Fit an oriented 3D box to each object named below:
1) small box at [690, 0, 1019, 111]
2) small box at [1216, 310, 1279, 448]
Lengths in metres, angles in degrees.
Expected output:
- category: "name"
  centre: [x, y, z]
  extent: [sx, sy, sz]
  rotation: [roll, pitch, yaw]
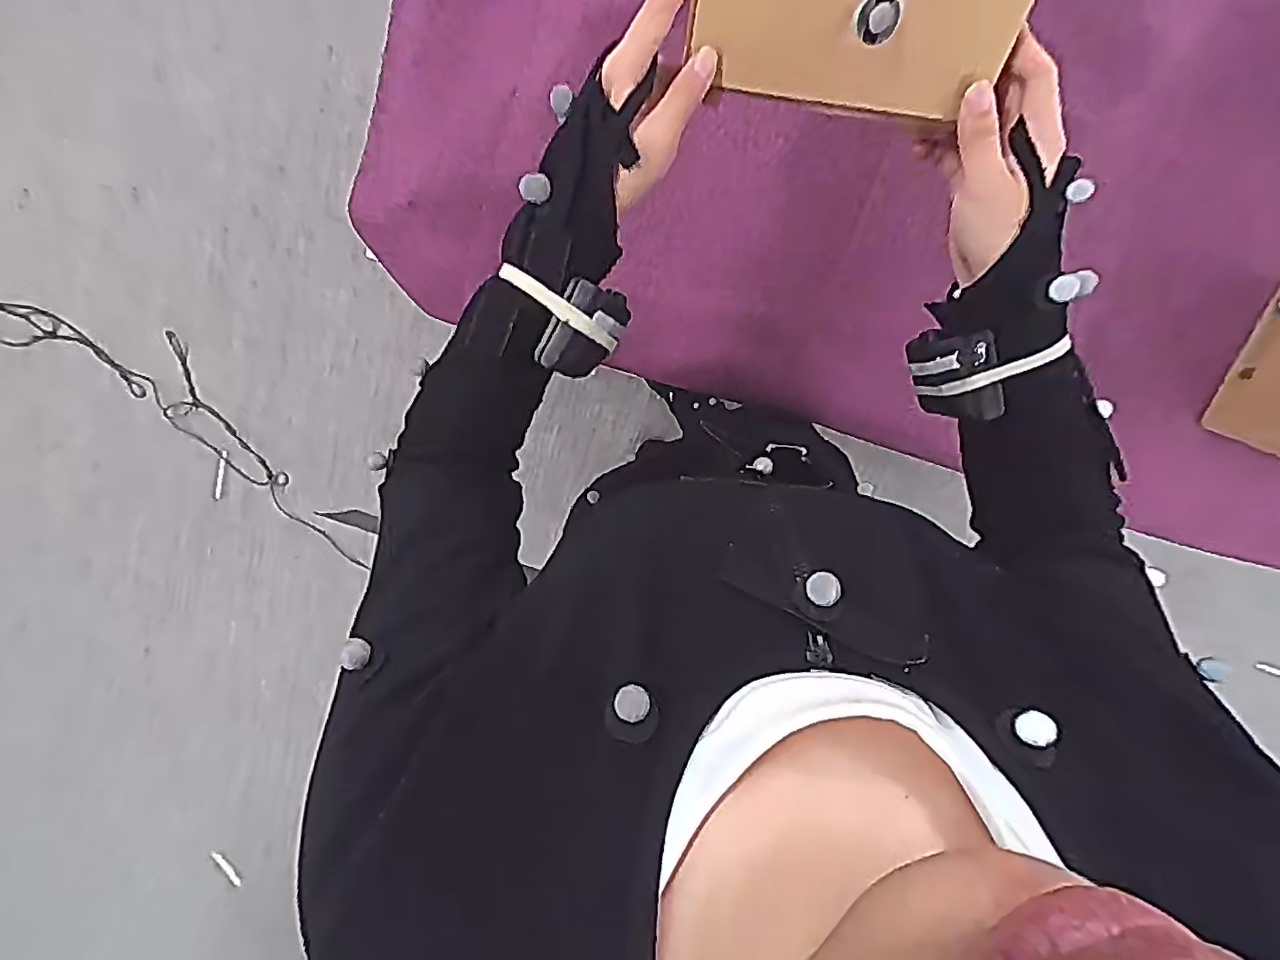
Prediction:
- category: "small box"
  centre: [0.128, -0.337, 0.307]
  extent: [0.179, 0.168, 0.176]
  rotation: [8, 134, -2]
- category: "small box"
  centre: [0.729, -0.095, 0.506]
  extent: [0.179, 0.176, 0.168]
  rotation: [20, 102, -2]
